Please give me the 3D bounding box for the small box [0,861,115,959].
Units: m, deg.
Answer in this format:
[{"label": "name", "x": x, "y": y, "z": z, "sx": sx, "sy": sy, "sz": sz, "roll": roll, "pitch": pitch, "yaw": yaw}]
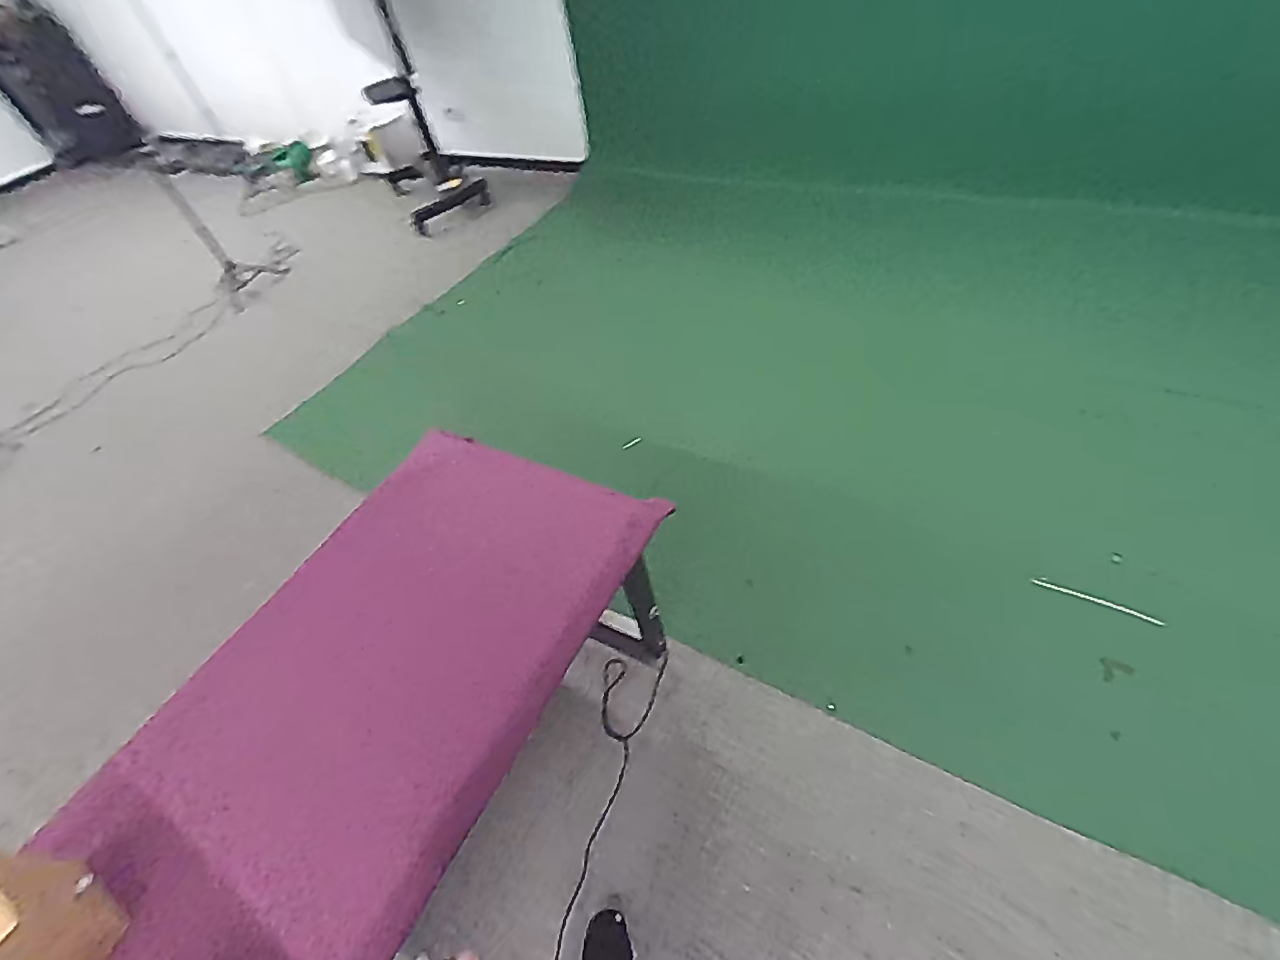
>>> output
[{"label": "small box", "x": -0.854, "y": 0.628, "z": 0.690, "sx": 0.168, "sy": 0.176, "sz": 0.179, "roll": 19, "pitch": 55, "yaw": 23}]
